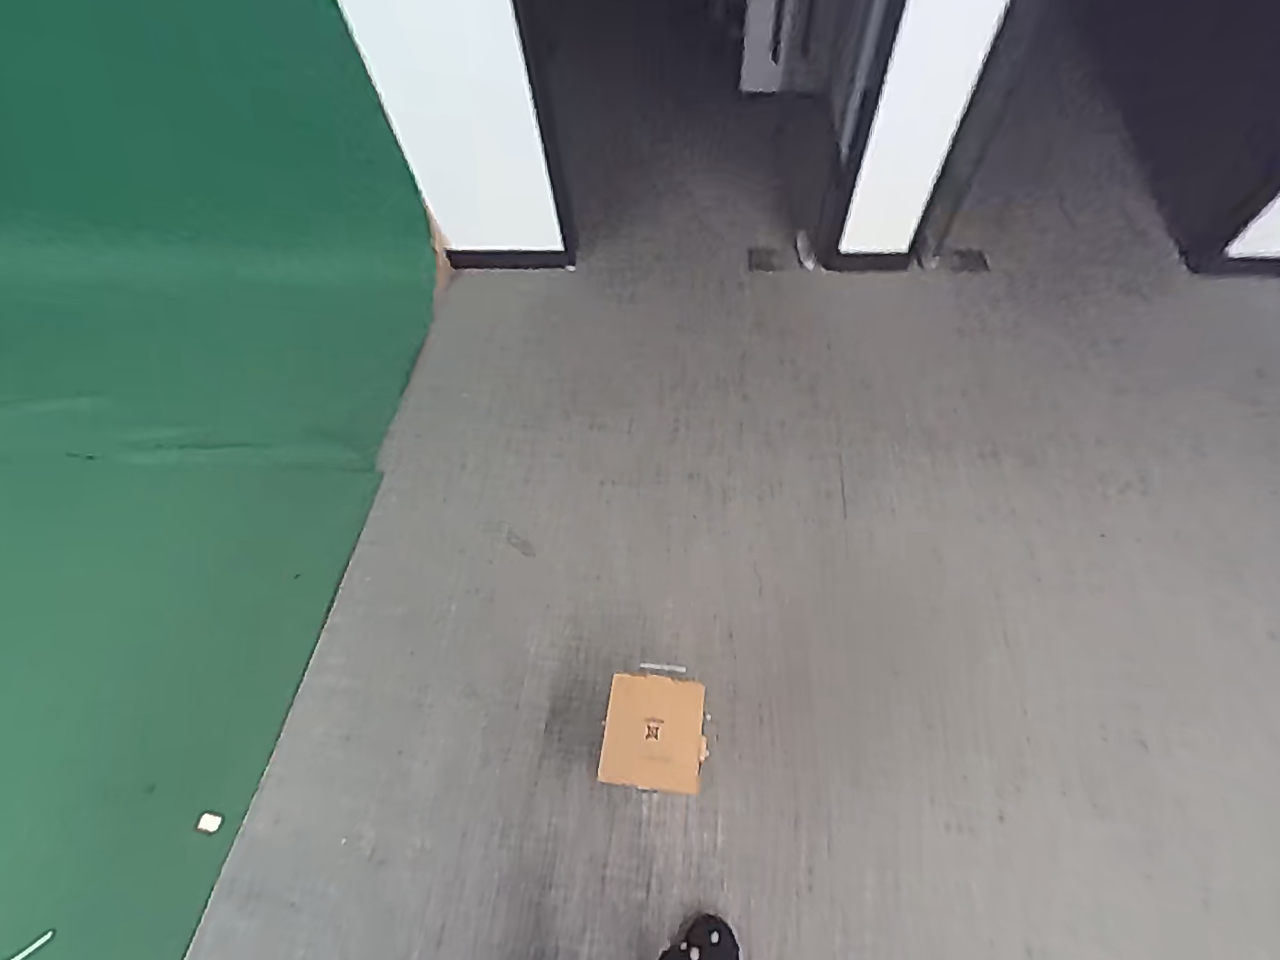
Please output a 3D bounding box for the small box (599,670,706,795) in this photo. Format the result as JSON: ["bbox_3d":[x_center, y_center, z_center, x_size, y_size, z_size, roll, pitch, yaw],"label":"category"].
[{"bbox_3d":[0.032,0.465,0.991,0.168,0.176,0.179,4,61,10],"label":"small box"}]
